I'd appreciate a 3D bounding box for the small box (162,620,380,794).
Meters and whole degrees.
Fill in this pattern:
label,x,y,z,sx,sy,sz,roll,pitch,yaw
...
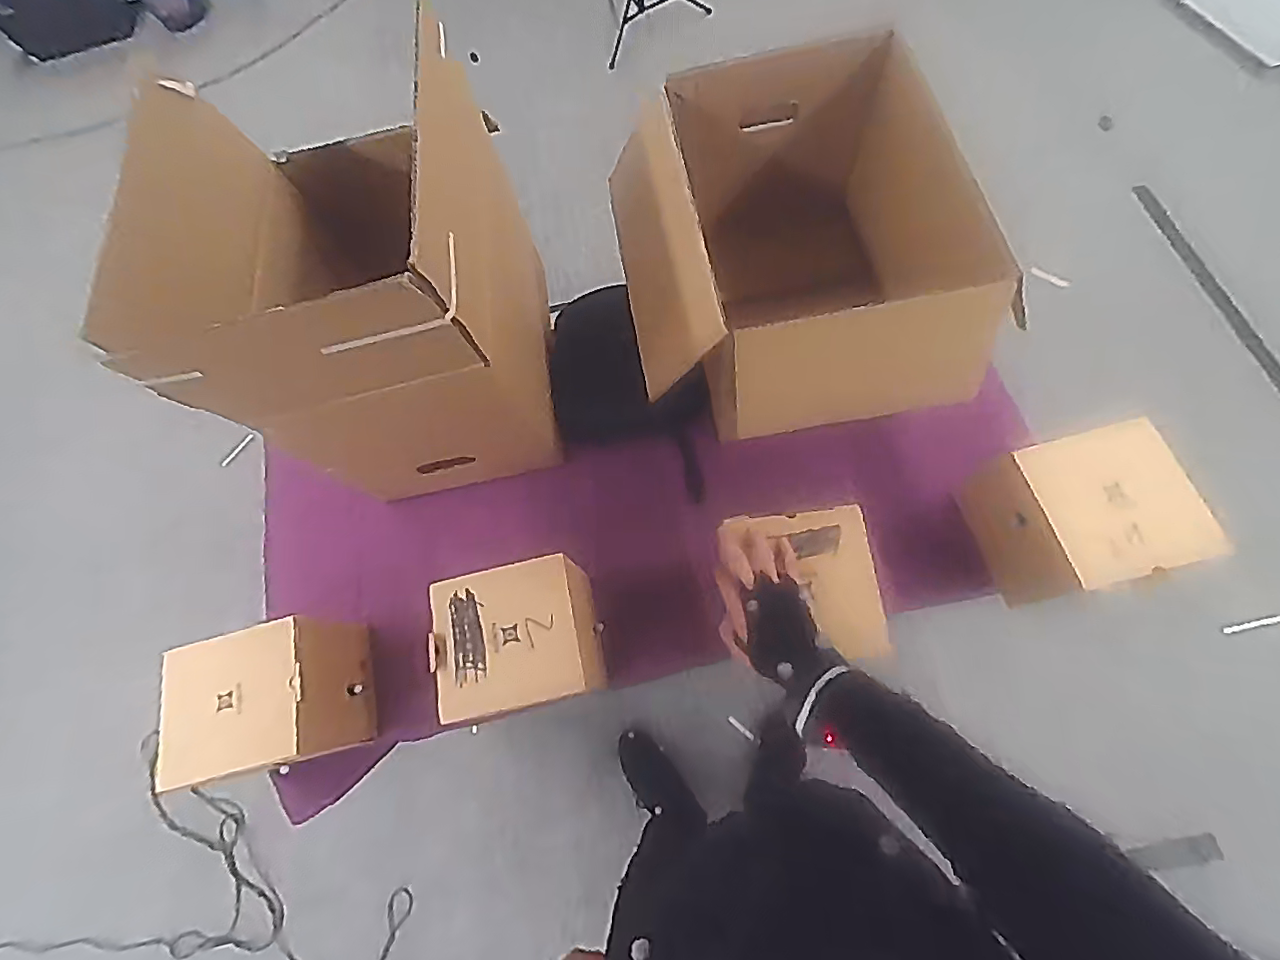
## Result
label,x,y,z,sx,sy,sz,roll,pitch,yaw
small box,-0.484,0.300,0.730,0.179,0.176,0.168,-16,69,0

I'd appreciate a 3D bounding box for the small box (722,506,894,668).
label,x,y,z,sx,sy,sz,roll,pitch,yaw
small box,0.200,0.146,0.700,0.168,0.176,0.179,-7,72,5

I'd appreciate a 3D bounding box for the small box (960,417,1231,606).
label,x,y,z,sx,sy,sz,roll,pitch,yaw
small box,0.550,0.049,0.689,0.168,0.176,0.179,-16,70,3
